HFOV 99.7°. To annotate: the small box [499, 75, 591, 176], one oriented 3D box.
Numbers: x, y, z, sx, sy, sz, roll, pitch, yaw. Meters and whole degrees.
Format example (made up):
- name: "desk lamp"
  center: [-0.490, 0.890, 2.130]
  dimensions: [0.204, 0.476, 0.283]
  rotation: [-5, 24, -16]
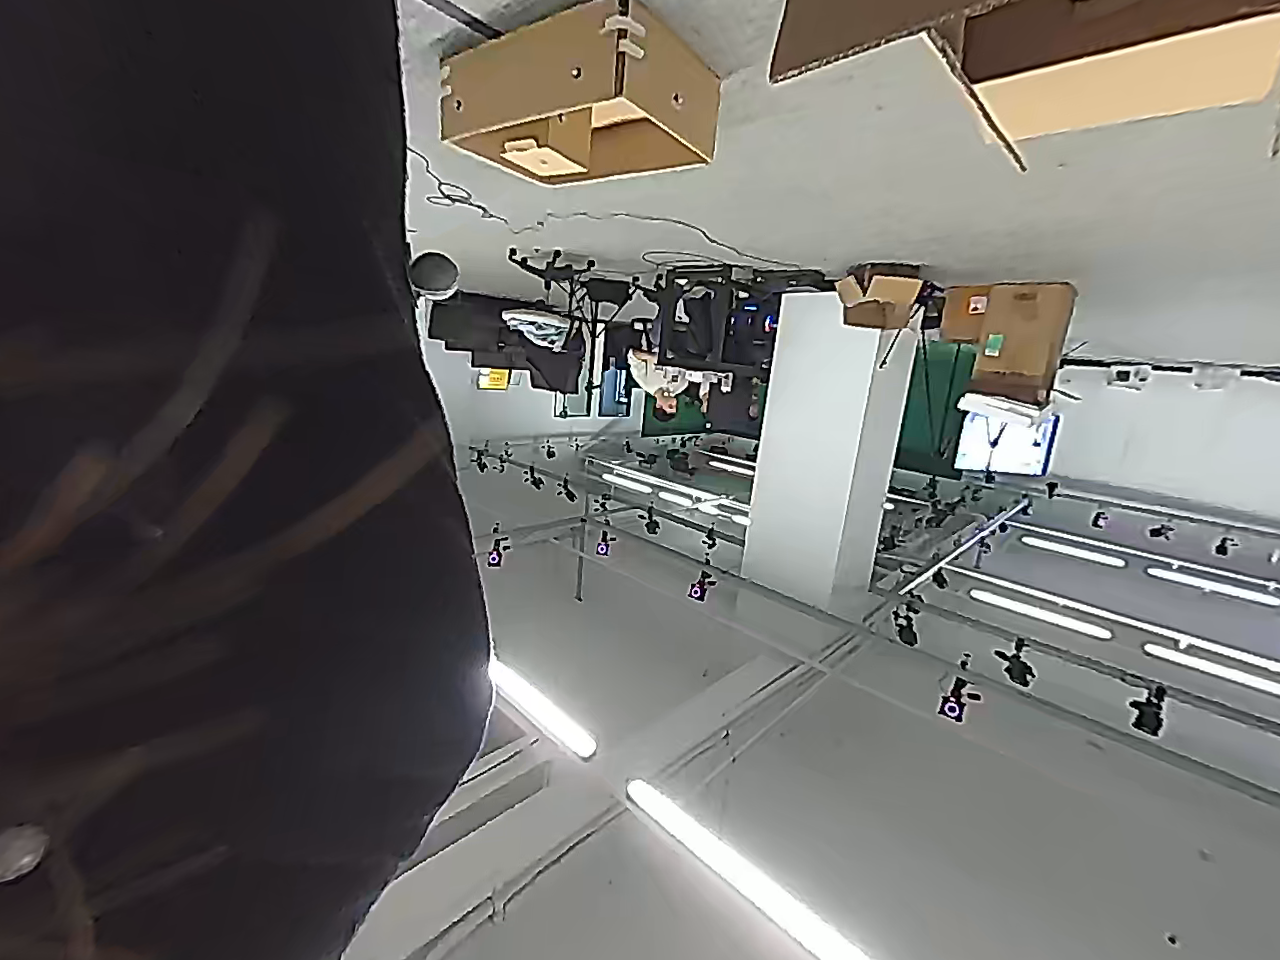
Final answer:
- name: "small box"
  center: [-0.240, -0.903, 1.381]
  dimensions: [0.168, 0.176, 0.179]
  rotation: [12, -166, 28]
